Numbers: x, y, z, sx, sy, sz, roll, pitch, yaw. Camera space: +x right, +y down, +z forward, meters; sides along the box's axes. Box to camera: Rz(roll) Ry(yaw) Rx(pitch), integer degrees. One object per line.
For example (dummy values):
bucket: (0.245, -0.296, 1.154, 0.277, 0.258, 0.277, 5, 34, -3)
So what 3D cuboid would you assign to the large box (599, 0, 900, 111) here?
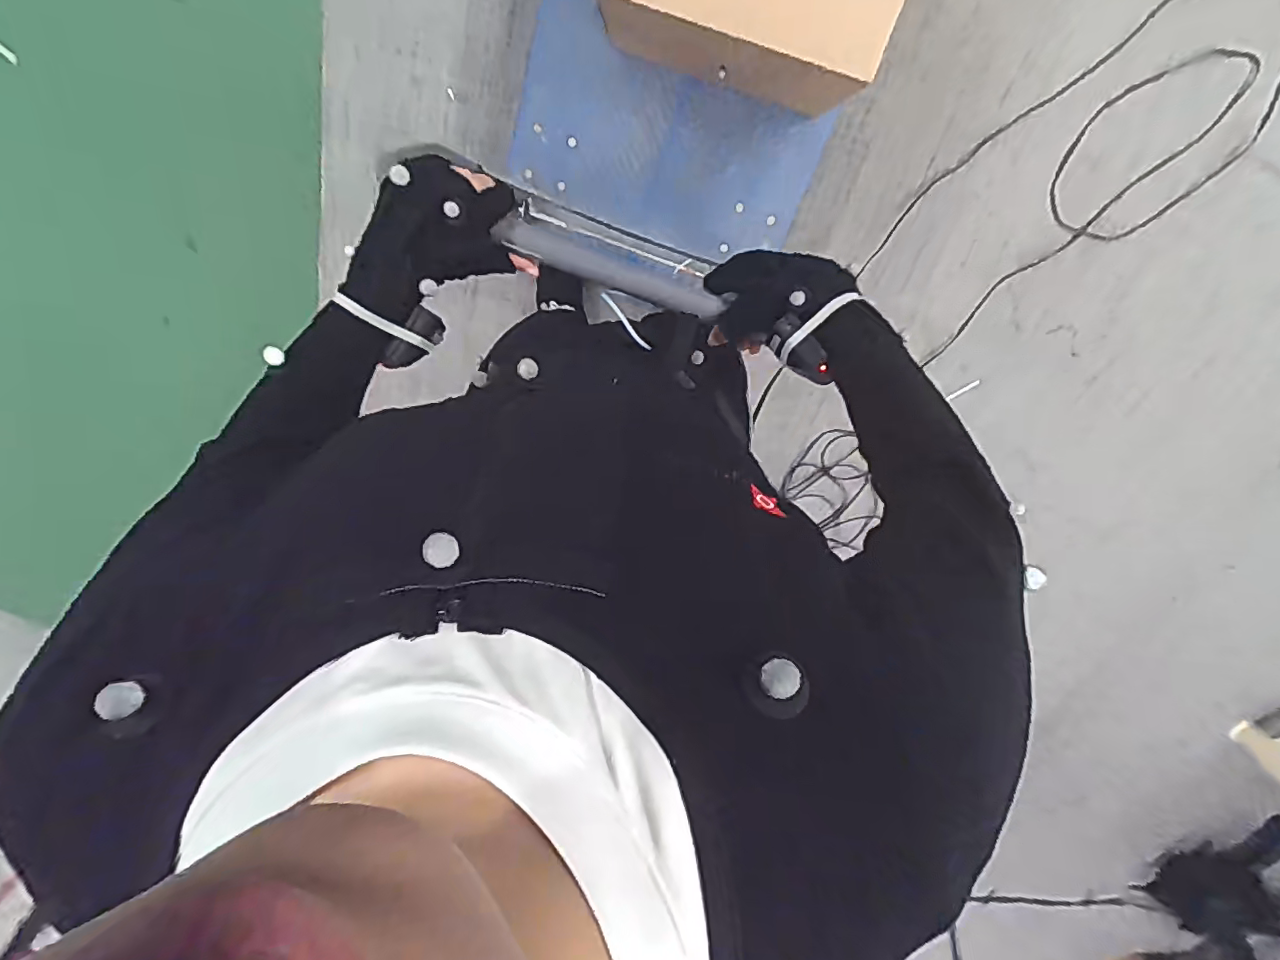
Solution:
large box: (0.181, -0.806, 0.818, 0.408, 0.320, 0.320, 15, 116, -3)
